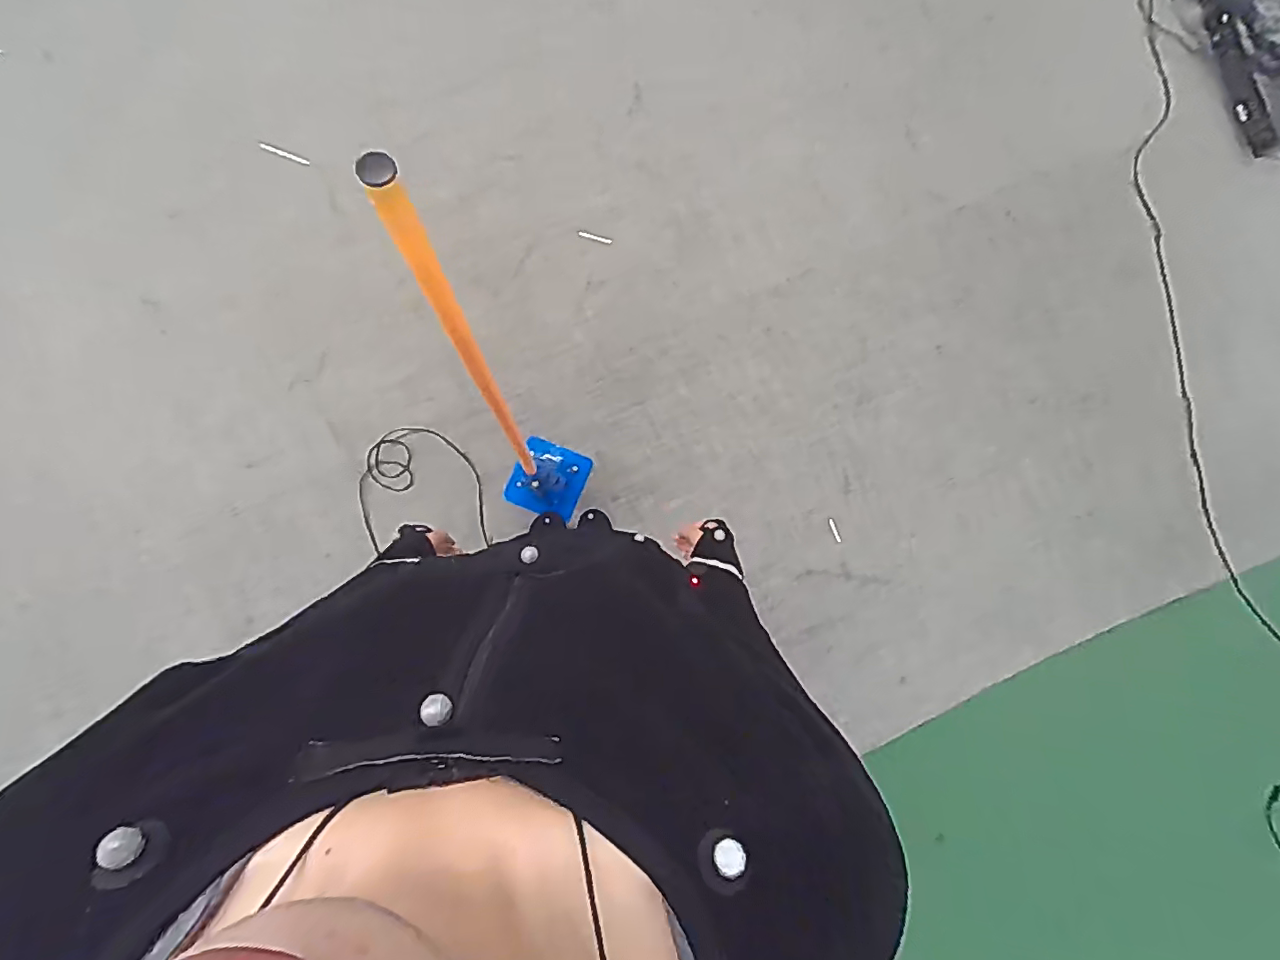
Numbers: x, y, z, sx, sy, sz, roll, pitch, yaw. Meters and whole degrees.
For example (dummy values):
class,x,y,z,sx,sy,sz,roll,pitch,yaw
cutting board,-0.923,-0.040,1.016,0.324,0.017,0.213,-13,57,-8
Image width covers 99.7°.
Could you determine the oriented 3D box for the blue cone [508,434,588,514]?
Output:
class,x,y,z,sx,sy,sz,roll,pitch,yaw
blue cone,-0.242,-0.028,1.323,0.192,0.380,0.193,21,85,-3
